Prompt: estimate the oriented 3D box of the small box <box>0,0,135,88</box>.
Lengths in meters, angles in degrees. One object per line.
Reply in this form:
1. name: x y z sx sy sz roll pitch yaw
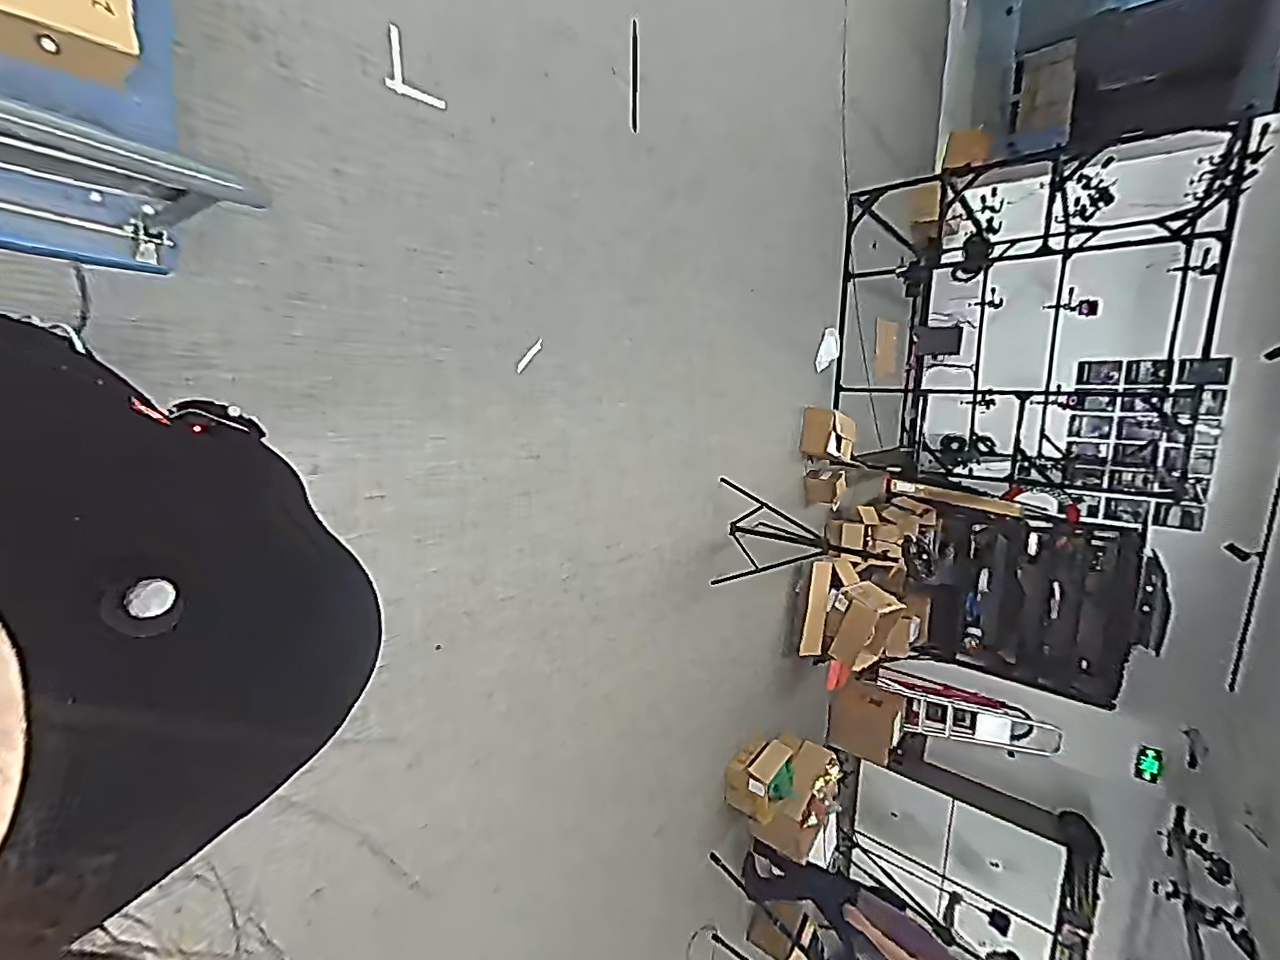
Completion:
1. small box: -0.901 -0.732 0.813 0.179 0.176 0.168 -12 107 -49
